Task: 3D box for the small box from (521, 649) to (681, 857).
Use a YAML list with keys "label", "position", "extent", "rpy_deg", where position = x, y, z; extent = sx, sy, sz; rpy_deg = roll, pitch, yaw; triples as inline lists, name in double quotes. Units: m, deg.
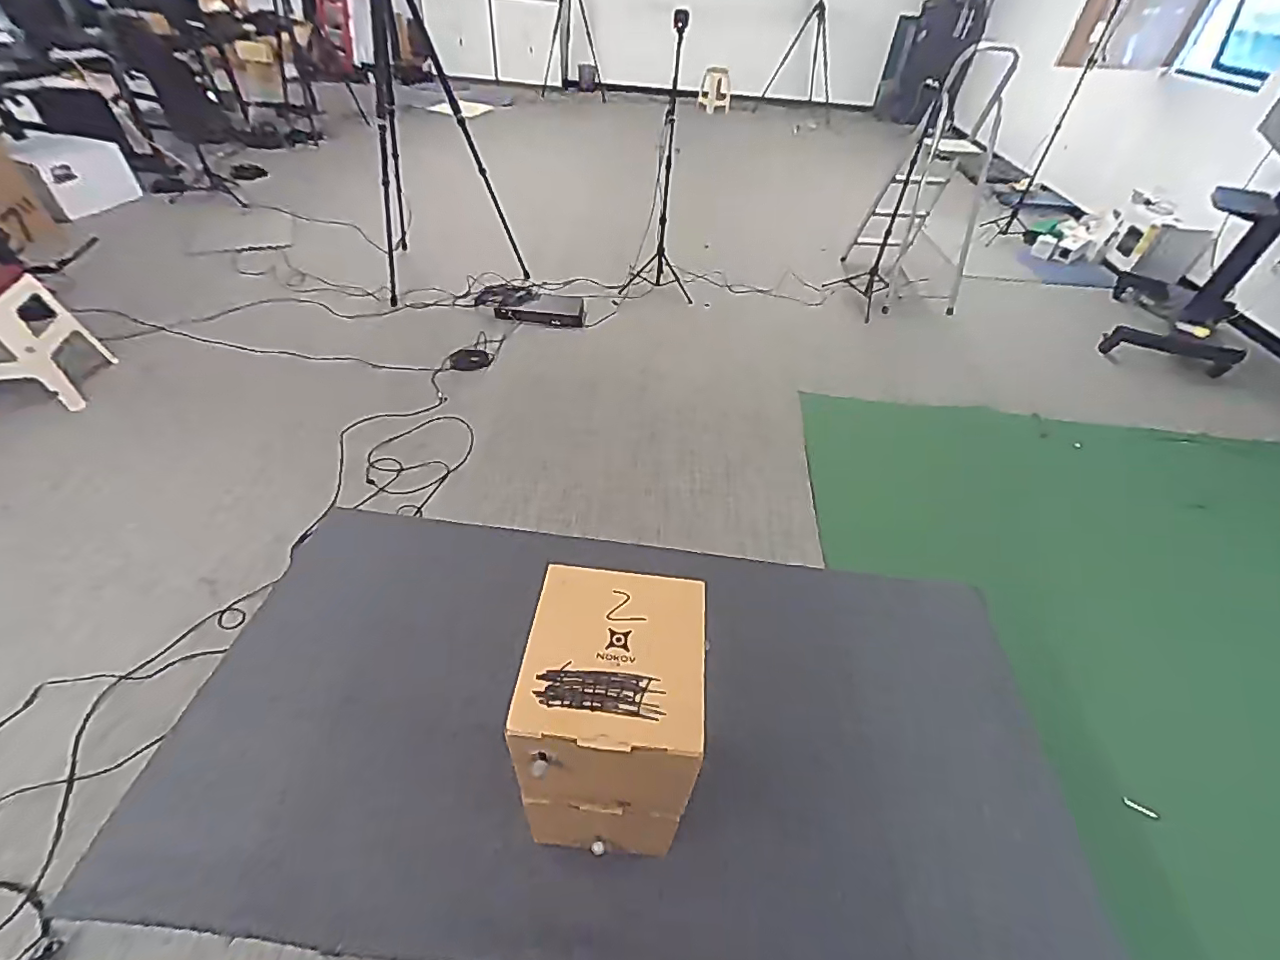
- label: "small box"
  position: [-0.043, 0.337, 0.672]
  extent: [0.168, 0.176, 0.179]
  rpy_deg: [6, 44, 1]
